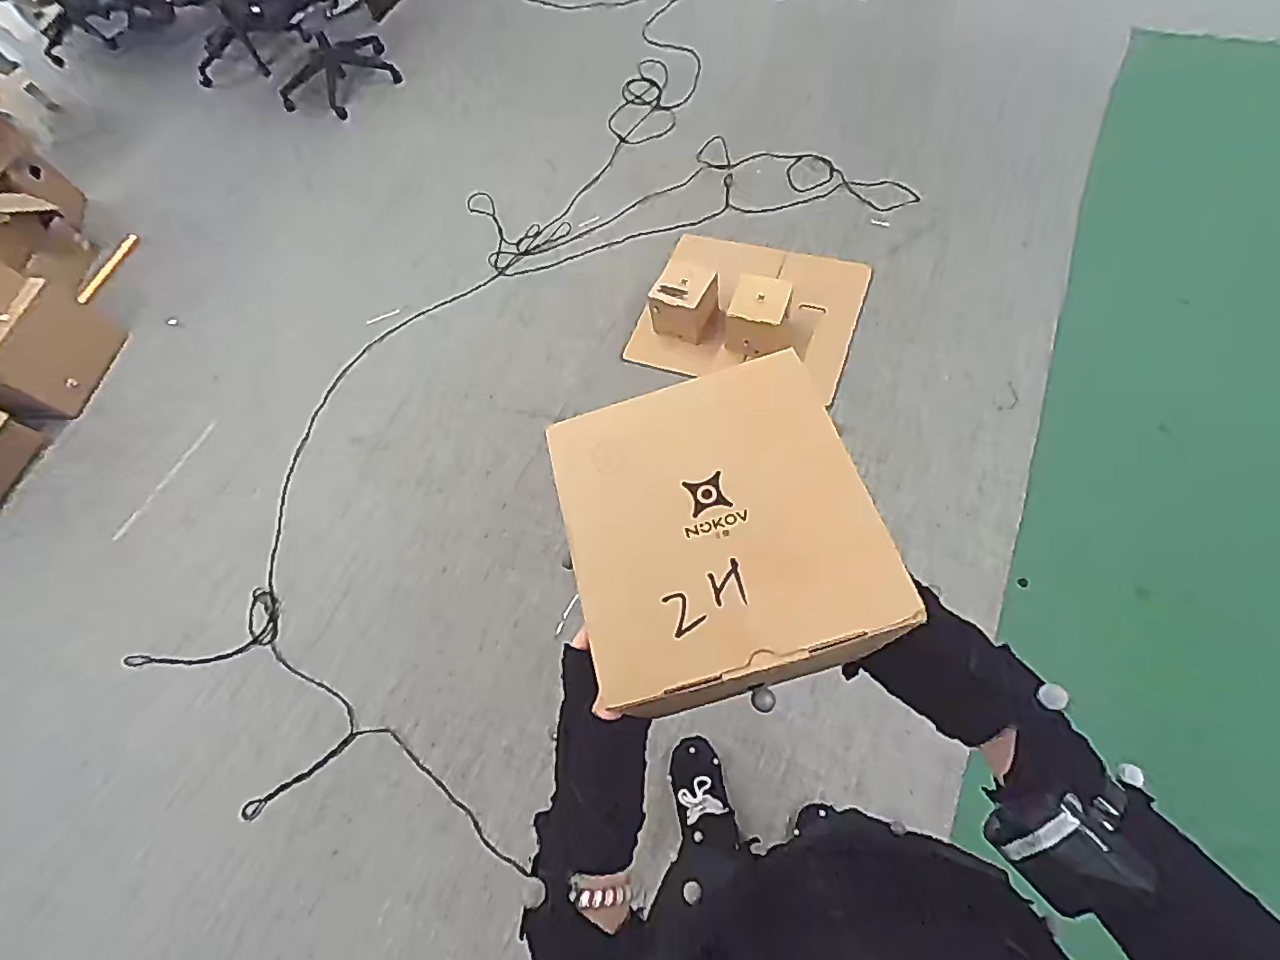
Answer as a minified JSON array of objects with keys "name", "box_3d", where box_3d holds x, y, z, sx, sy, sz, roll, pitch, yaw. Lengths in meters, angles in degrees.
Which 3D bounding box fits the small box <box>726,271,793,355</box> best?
[{"name":"small box","box_3d":[0.373,-0.522,1.709,0.168,0.176,0.179,16,69,15]}]

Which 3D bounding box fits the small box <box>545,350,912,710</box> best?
[{"name":"small box","box_3d":[0.049,0.047,0.376,0.168,0.176,0.179,-18,64,3]}]
